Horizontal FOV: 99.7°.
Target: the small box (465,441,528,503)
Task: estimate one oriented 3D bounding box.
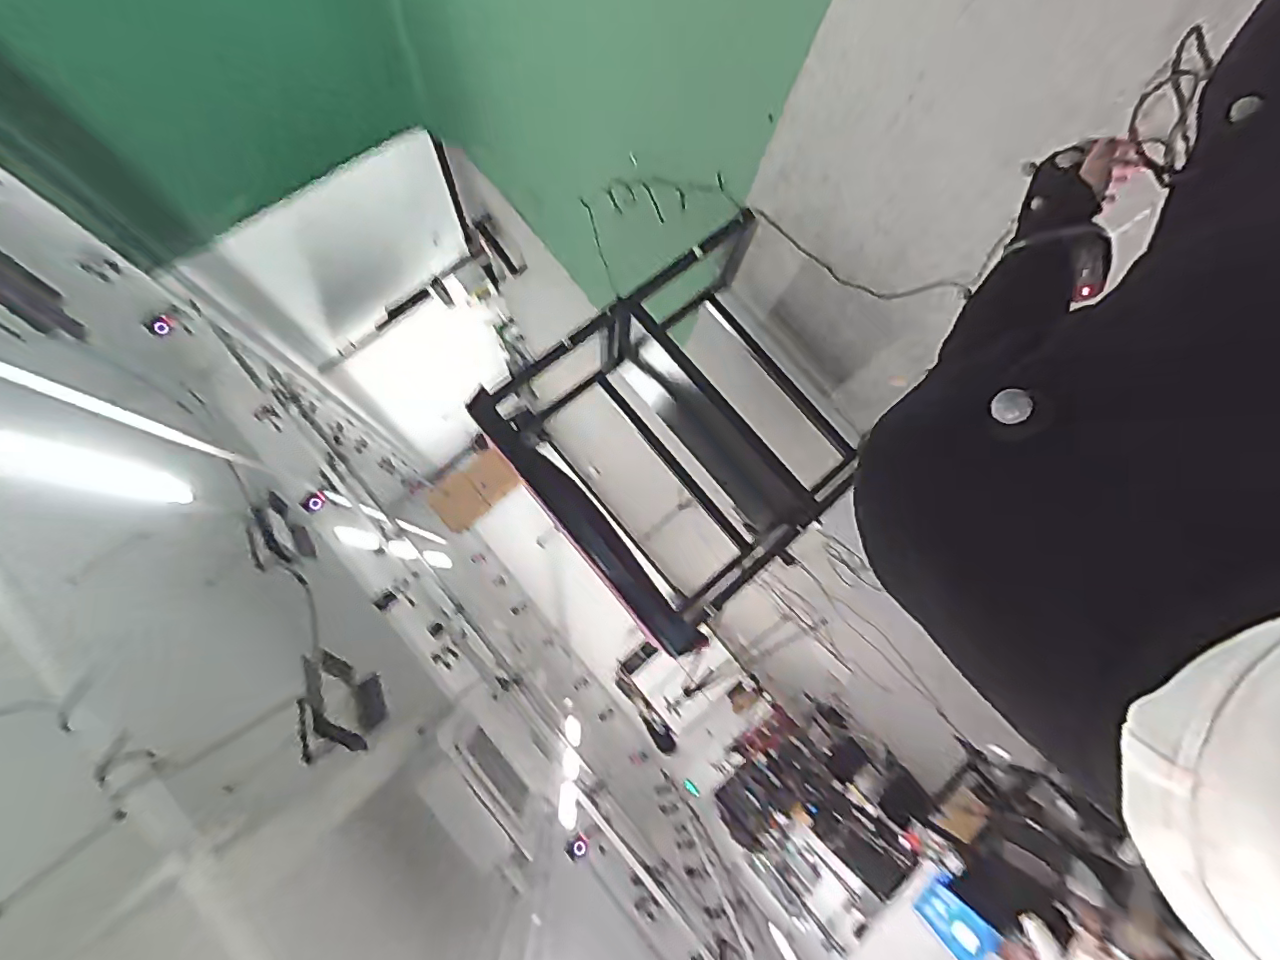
[{"bbox_3d":[-0.556,-0.029,2.129,0.168,0.176,0.179,50,168,2],"label":"small box"}]
